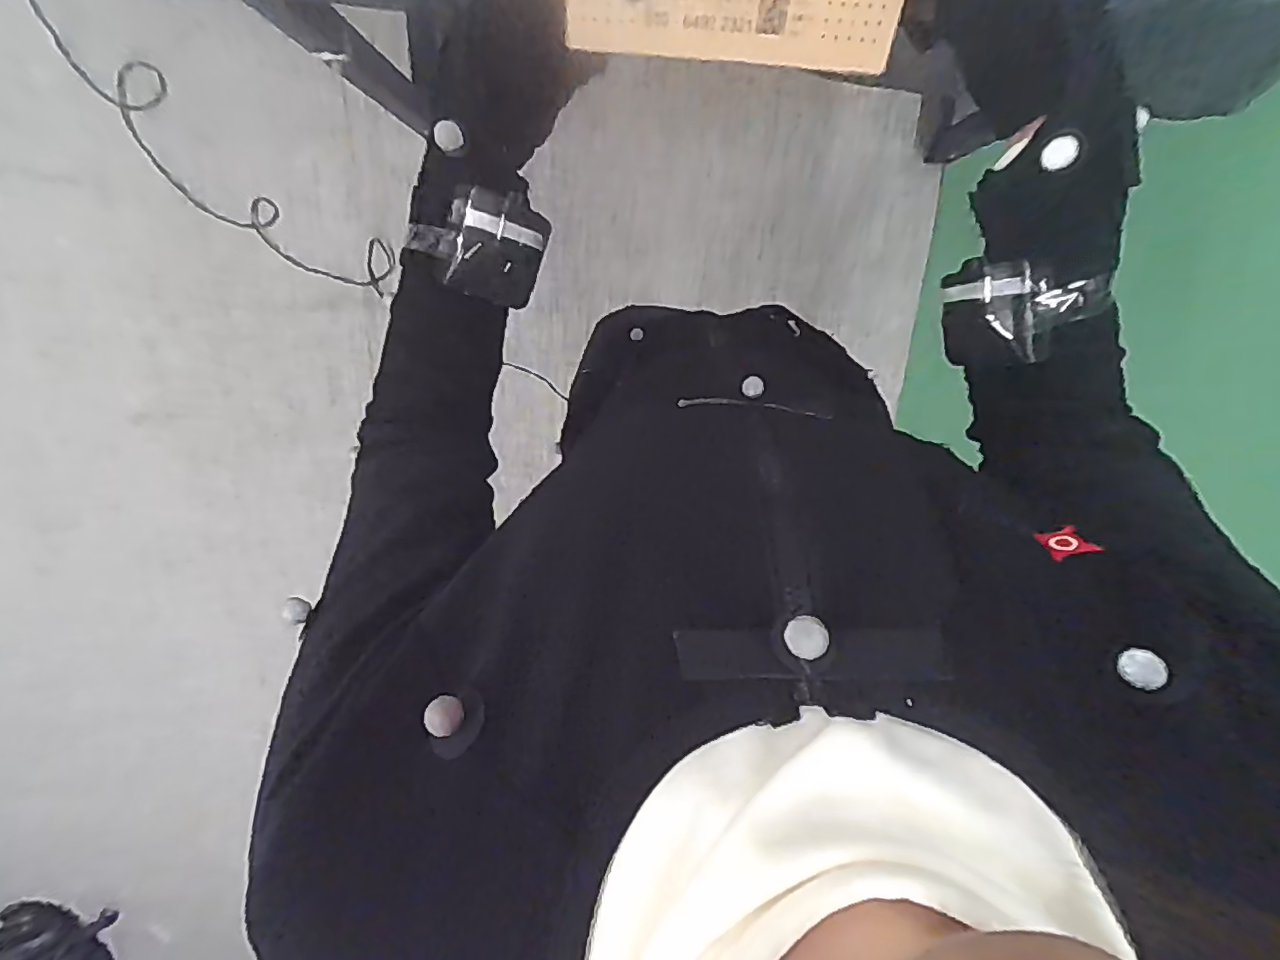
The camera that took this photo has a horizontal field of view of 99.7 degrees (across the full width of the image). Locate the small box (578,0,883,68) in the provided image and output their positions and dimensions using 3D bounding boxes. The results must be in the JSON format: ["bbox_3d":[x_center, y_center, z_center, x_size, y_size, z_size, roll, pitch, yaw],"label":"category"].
[{"bbox_3d":[0.058,-0.344,0.306,0.168,0.179,0.176,7,128,2],"label":"small box"}]
